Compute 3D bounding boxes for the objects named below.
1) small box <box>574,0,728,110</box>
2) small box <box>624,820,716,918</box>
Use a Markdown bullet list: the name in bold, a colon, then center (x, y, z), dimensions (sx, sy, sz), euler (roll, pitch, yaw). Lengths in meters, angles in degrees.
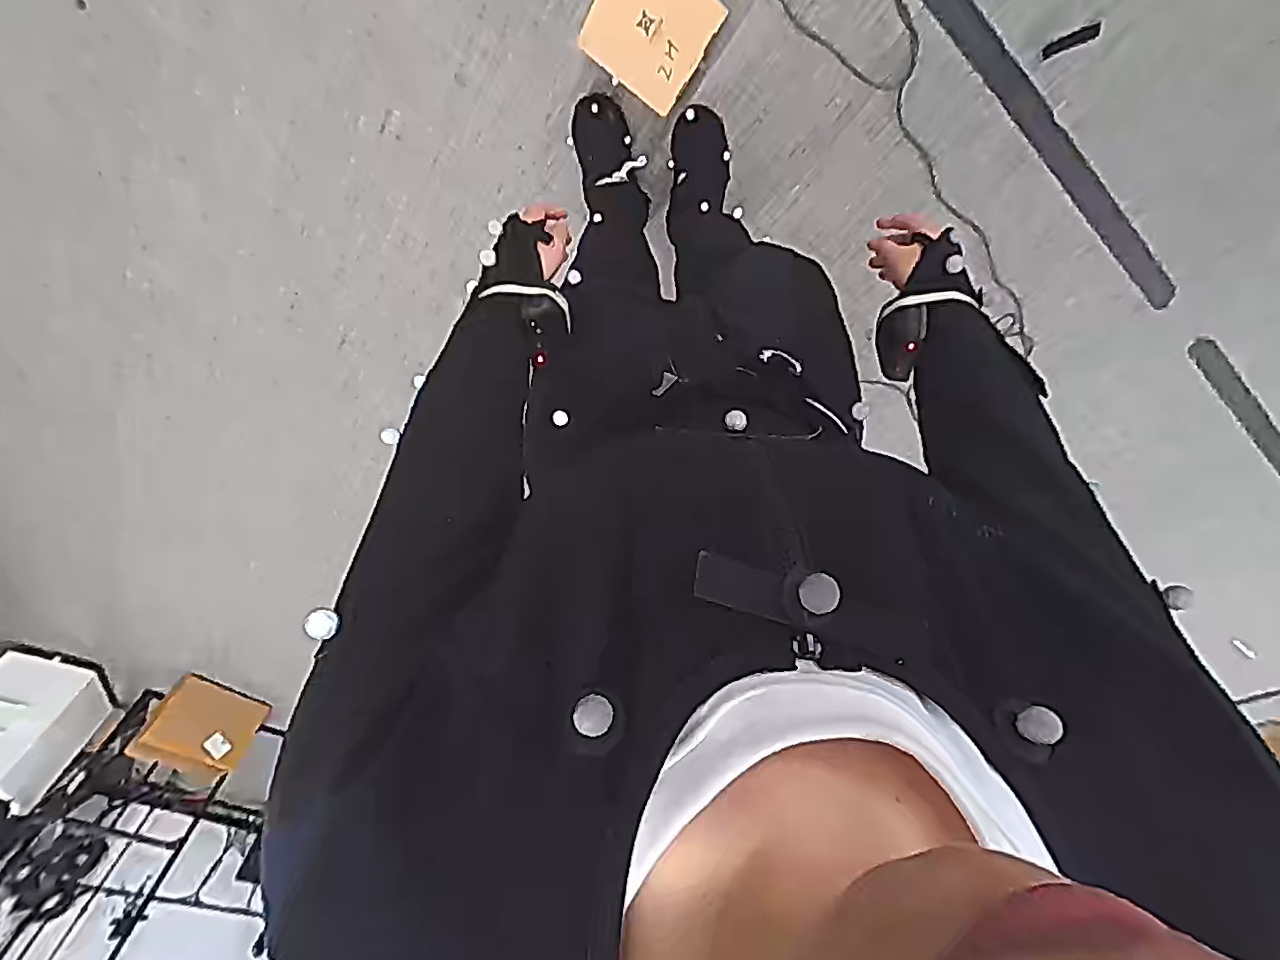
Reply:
- **small box**: center (0.020, -0.740, 0.865), dimensions (0.179, 0.176, 0.168), euler (29, 130, -20)
- **small box**: center (0.076, 0.990, 1.377), dimensions (0.168, 0.176, 0.179), euler (28, 130, -18)
